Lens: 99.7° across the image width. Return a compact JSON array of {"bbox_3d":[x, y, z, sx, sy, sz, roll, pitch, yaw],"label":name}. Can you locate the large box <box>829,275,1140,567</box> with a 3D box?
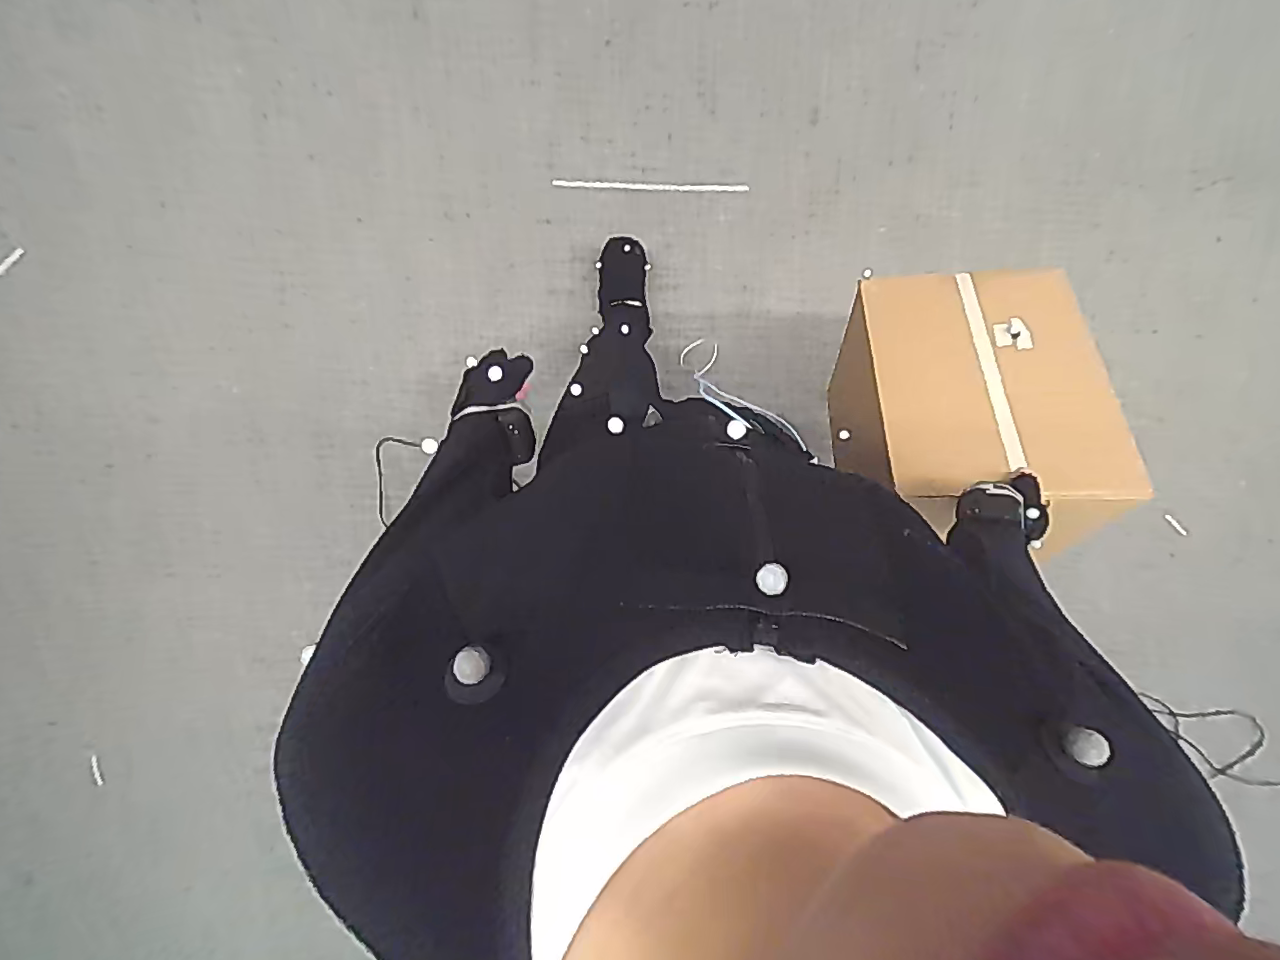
[{"bbox_3d":[0.528,-0.085,0.939,0.320,0.320,0.408,0,63,8],"label":"large box"}]
